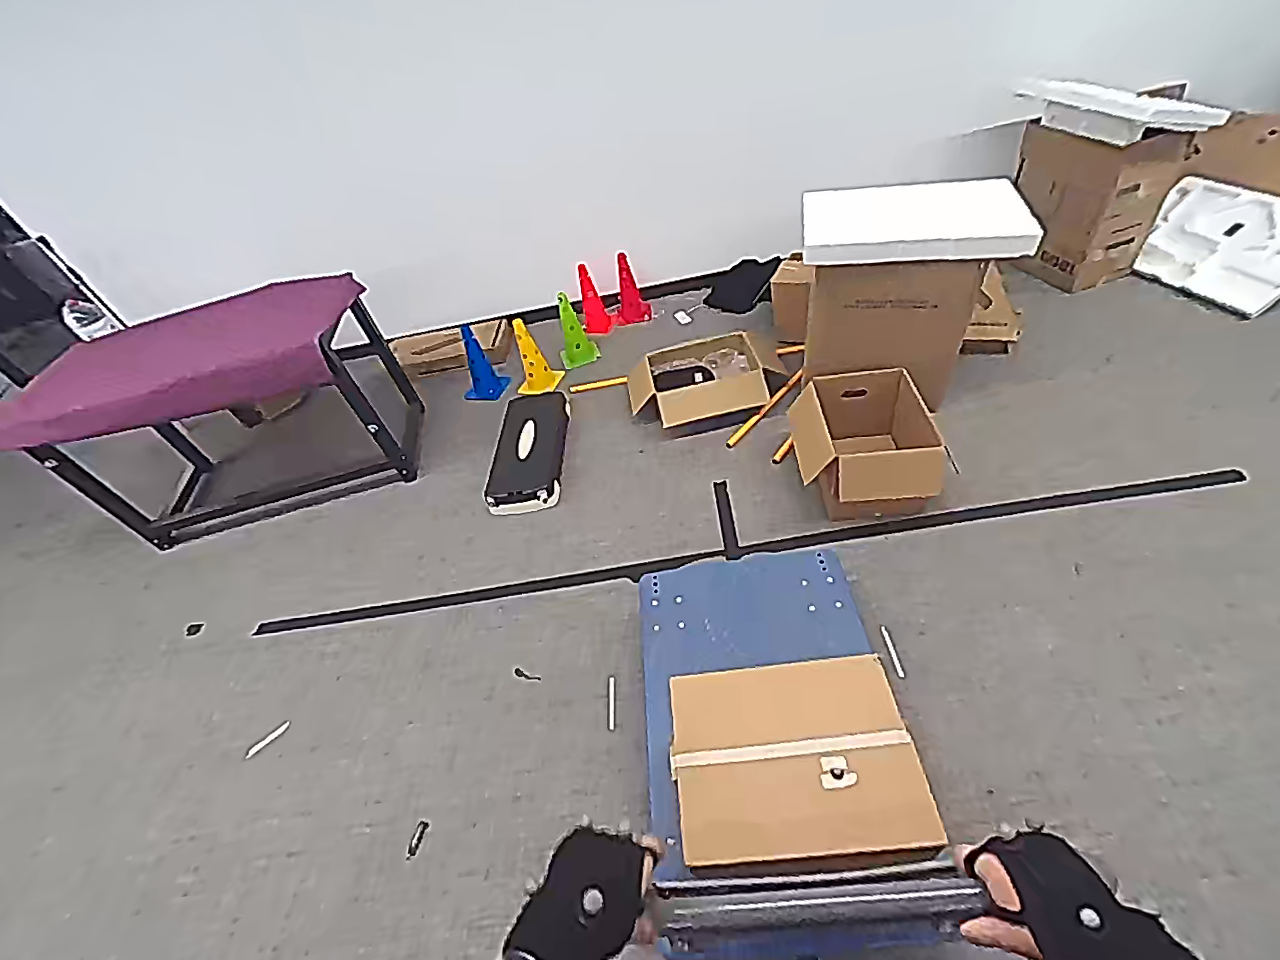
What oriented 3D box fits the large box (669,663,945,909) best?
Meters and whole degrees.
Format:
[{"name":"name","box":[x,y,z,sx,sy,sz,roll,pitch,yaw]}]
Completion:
[{"name":"large box","box":[0.281,0.588,1.033,0.408,0.320,0.320,-8,45,5]}]
